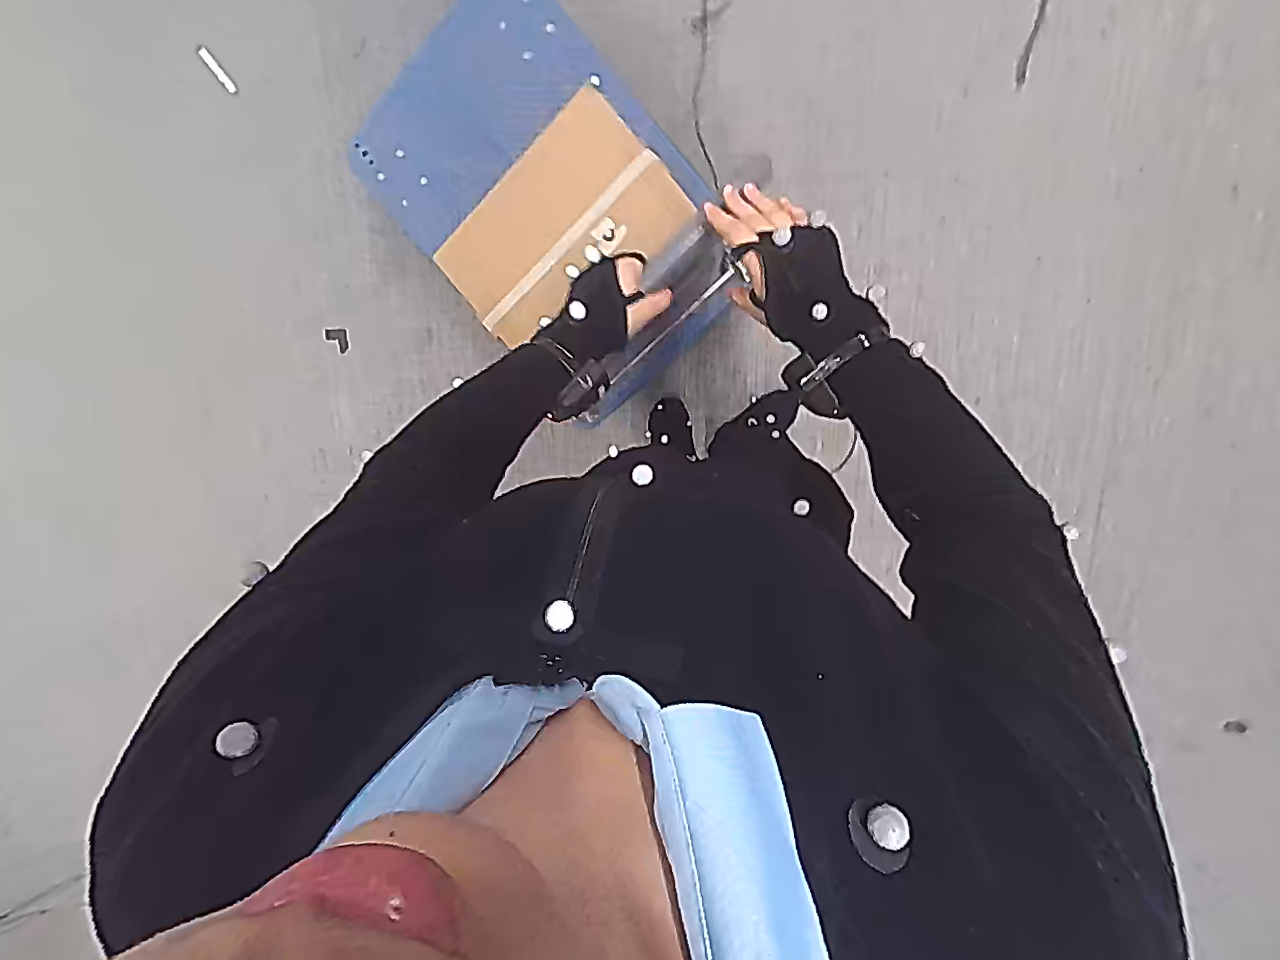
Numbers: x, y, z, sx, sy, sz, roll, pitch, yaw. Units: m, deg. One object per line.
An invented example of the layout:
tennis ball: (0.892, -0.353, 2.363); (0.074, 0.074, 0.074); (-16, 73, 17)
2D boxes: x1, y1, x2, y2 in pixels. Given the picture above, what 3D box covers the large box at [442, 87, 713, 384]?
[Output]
large box: (-0.101, -0.442, 1.092); (0.408, 0.320, 0.320); (-40, 94, 14)
